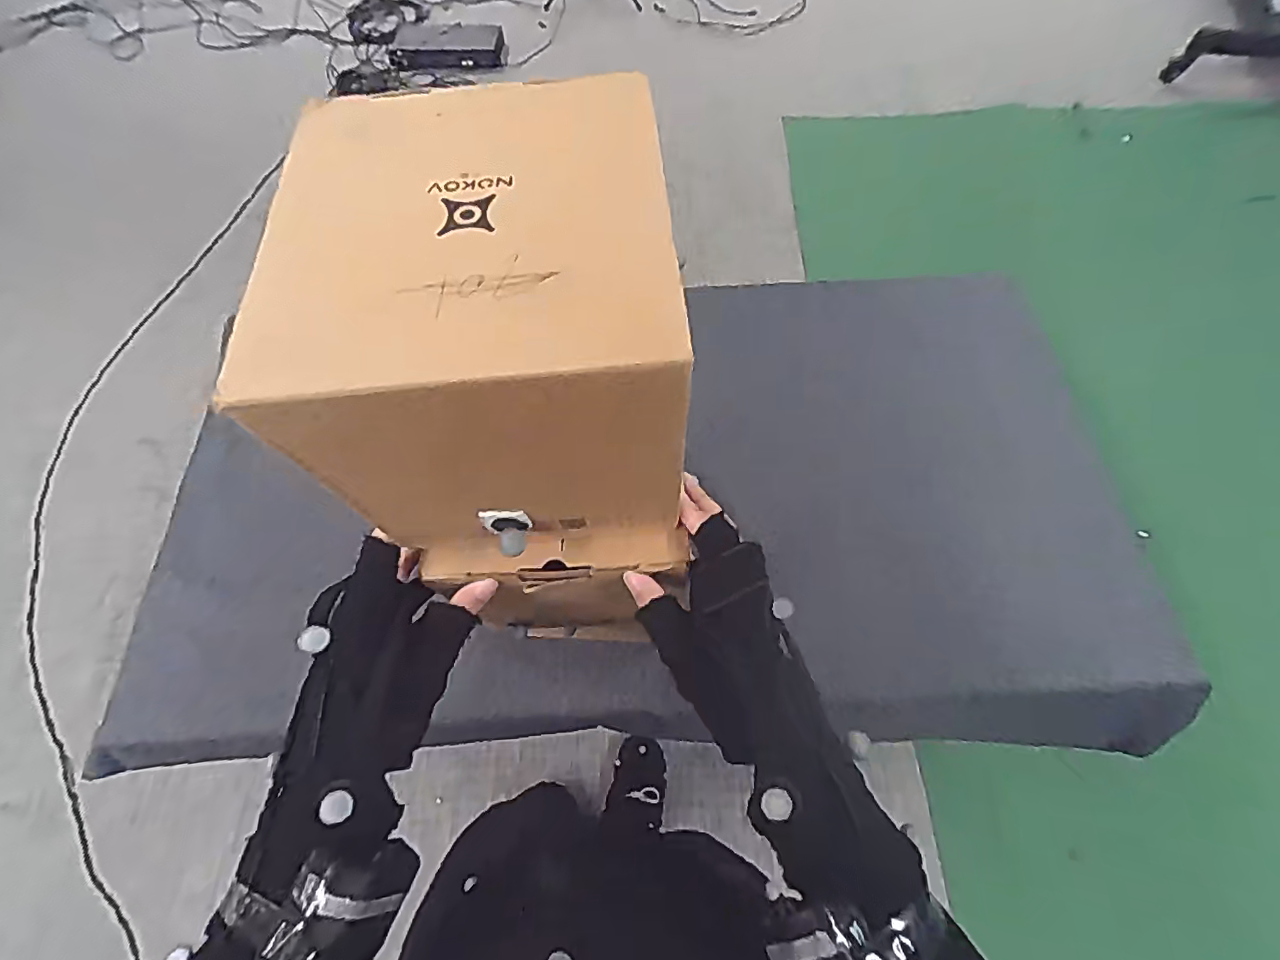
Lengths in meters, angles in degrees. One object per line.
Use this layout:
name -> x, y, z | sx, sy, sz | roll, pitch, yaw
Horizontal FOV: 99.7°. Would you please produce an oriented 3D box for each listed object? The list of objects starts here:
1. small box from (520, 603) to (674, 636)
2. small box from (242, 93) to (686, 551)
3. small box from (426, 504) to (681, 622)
small box -> -0.051, 0.074, 0.598 | 0.179, 0.176, 0.168 | 0, 63, 1
small box -> -0.069, -0.074, 0.305 | 0.168, 0.176, 0.179 | -6, 64, 0
small box -> -0.057, 0.014, 0.442 | 0.168, 0.176, 0.179 | -6, 65, -1
